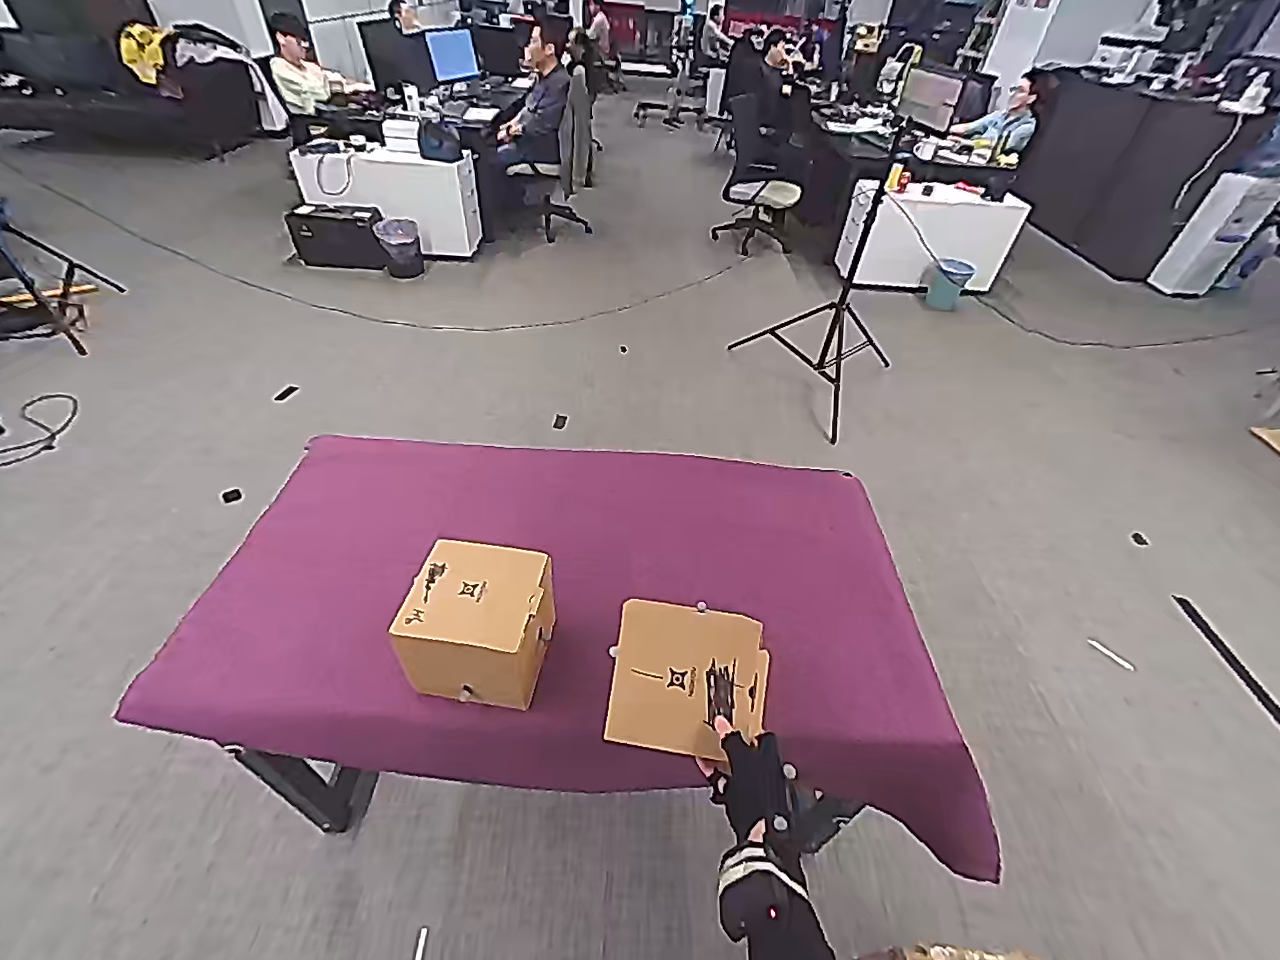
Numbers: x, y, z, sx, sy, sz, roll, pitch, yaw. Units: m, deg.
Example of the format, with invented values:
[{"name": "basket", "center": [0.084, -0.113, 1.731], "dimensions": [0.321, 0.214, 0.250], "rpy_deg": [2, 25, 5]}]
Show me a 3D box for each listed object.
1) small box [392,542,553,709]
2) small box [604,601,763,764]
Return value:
[{"name": "small box", "center": [-0.233, 0.220, 0.808], "dimensions": [0.179, 0.176, 0.168], "rpy_deg": [9, 42, 3]}, {"name": "small box", "center": [0.058, 0.261, 0.739], "dimensions": [0.179, 0.176, 0.168], "rpy_deg": [8, 79, 5]}]
